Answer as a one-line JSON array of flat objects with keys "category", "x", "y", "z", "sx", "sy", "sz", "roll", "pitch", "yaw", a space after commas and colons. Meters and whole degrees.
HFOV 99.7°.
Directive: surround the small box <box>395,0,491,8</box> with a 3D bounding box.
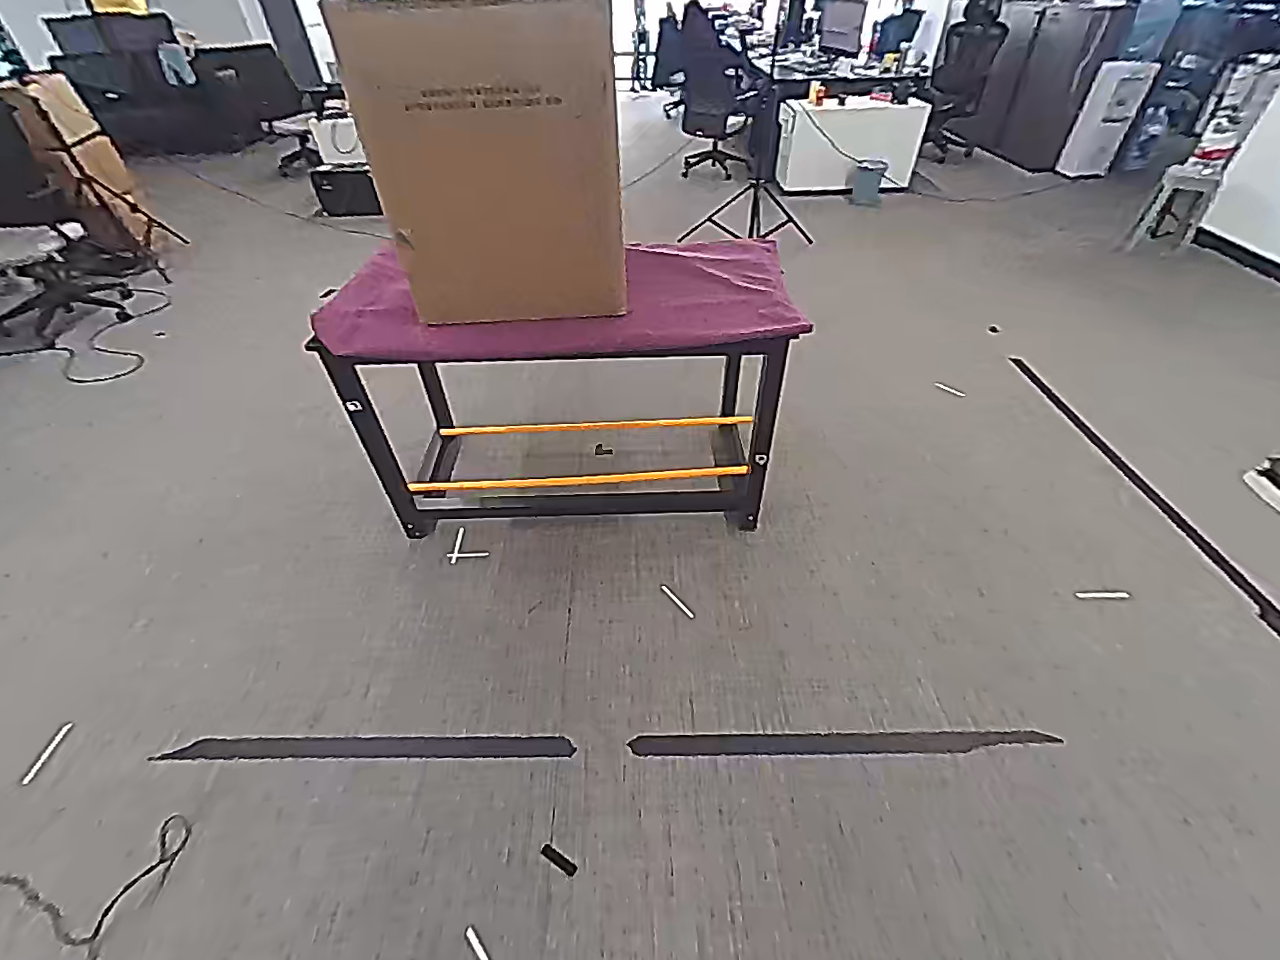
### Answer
[{"category": "small box", "x": -0.423, "y": -1.098, "z": 1.125, "sx": 0.179, "sy": 0.176, "sz": 0.168, "roll": -2, "pitch": 43, "yaw": -1}]
